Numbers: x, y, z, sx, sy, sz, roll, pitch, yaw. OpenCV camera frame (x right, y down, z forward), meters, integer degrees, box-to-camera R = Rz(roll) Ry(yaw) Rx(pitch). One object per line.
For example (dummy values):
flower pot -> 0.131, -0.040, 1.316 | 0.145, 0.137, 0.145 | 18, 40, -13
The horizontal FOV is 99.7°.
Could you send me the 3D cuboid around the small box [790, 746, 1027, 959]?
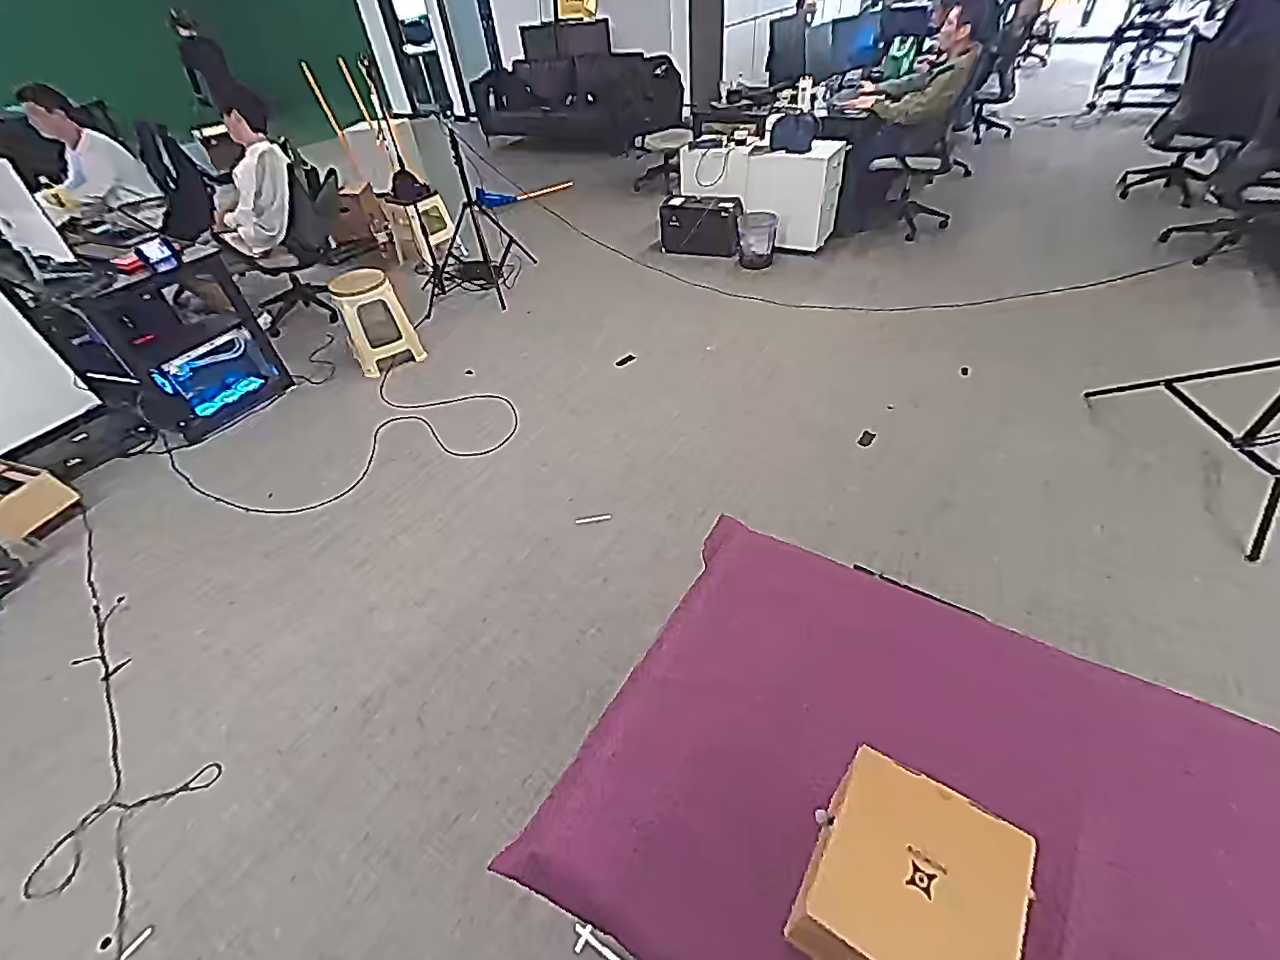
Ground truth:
small box -> 0.267, 0.430, 0.565 | 0.168, 0.176, 0.179 | 22, 49, 26
